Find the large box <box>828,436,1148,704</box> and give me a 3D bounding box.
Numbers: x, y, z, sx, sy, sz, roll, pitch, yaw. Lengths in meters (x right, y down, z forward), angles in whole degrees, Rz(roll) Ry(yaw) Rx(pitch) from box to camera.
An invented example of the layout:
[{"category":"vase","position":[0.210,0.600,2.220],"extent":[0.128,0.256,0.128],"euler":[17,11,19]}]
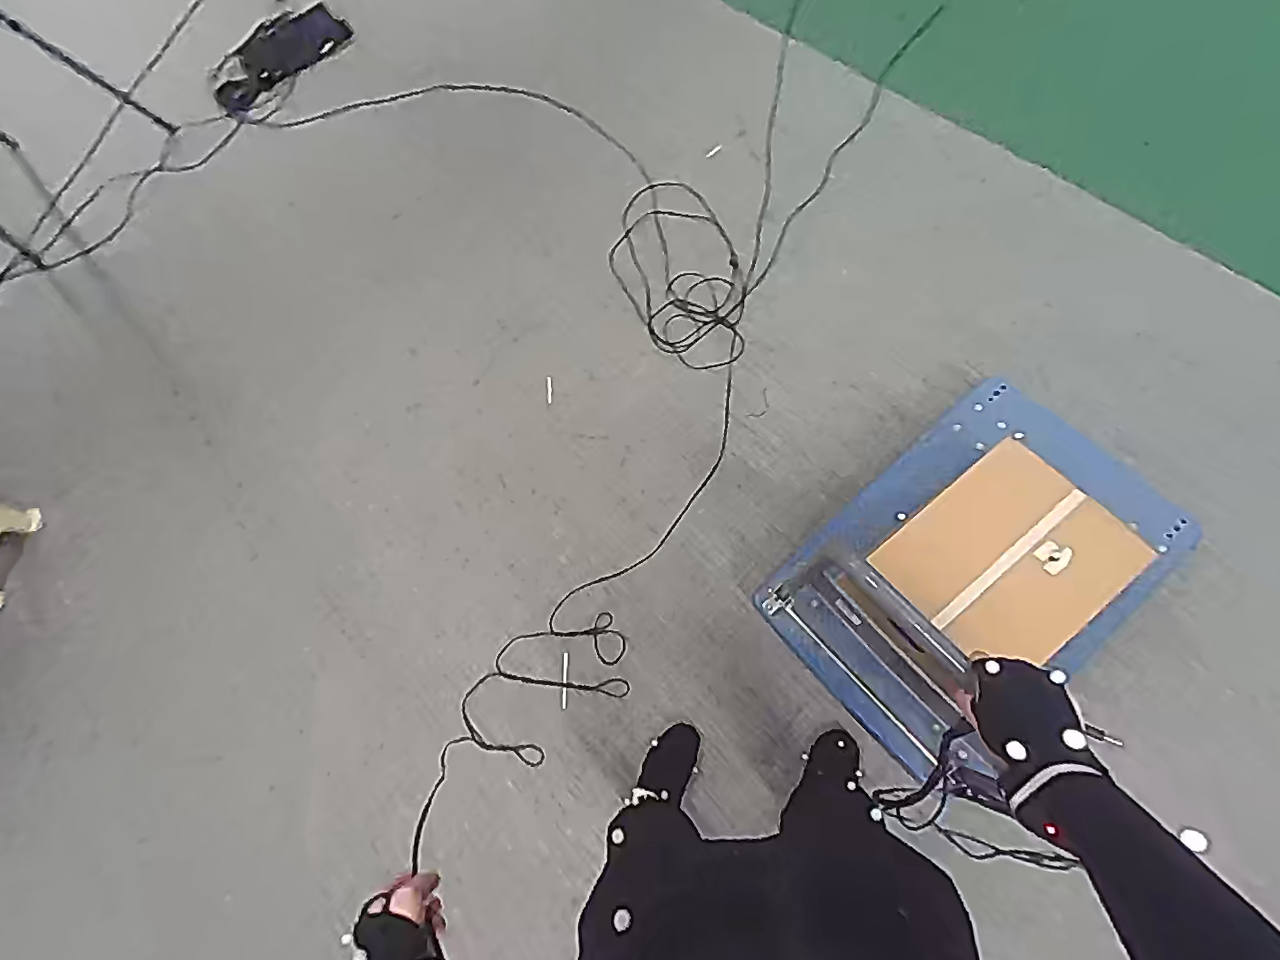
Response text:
[{"category":"large box","position":[0.663,0.195,1.109],"extent":[0.408,0.320,0.320],"euler":[-39,72,-7]}]
